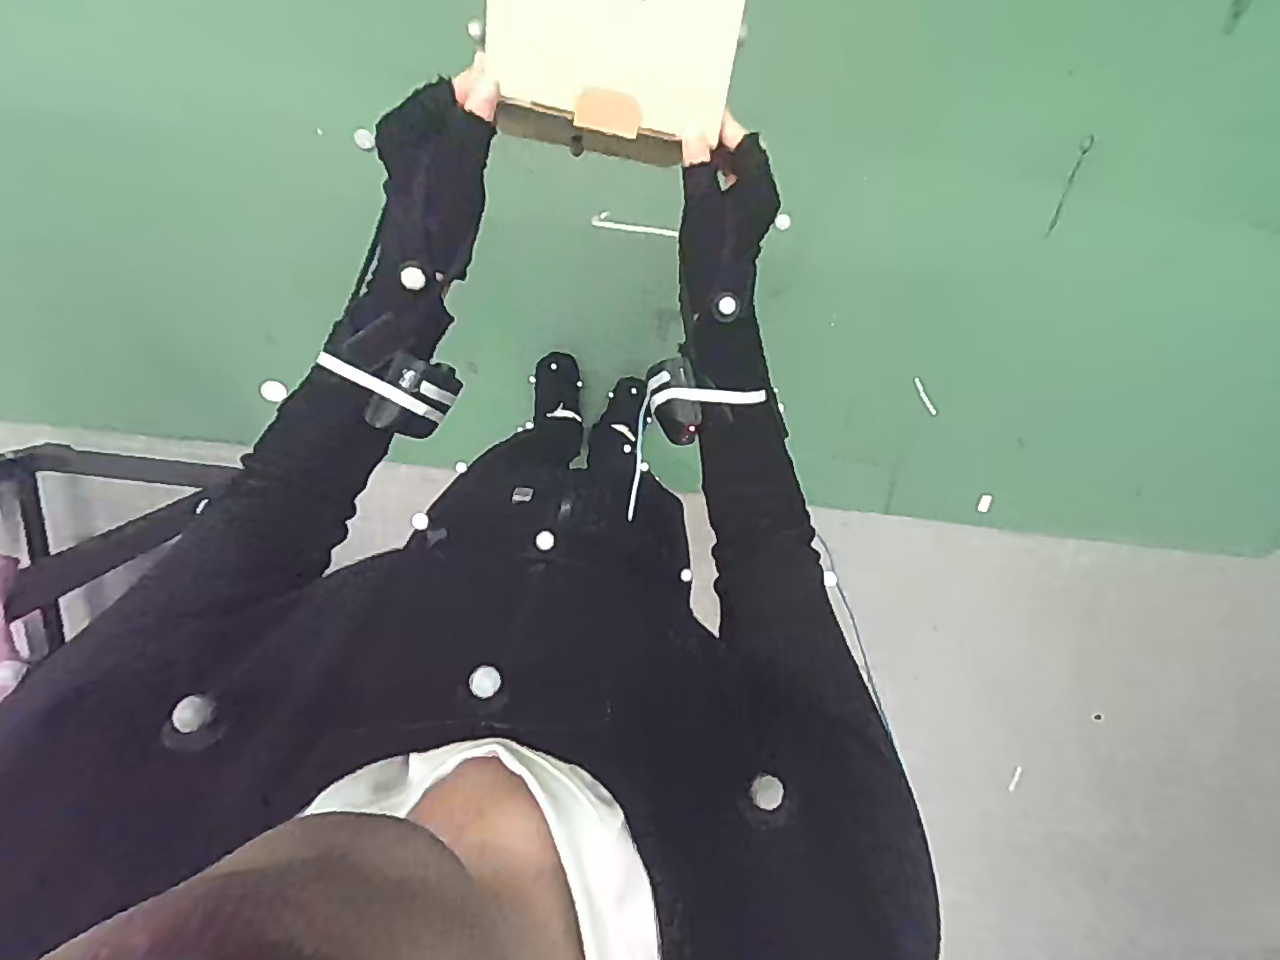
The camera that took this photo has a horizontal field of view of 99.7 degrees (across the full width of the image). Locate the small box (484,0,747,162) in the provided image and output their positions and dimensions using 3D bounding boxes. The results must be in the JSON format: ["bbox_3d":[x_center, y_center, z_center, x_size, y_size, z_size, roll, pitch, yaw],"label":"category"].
[{"bbox_3d":[-0.022,-0.359,0.406,0.168,0.176,0.179,5,115,-13],"label":"small box"}]
